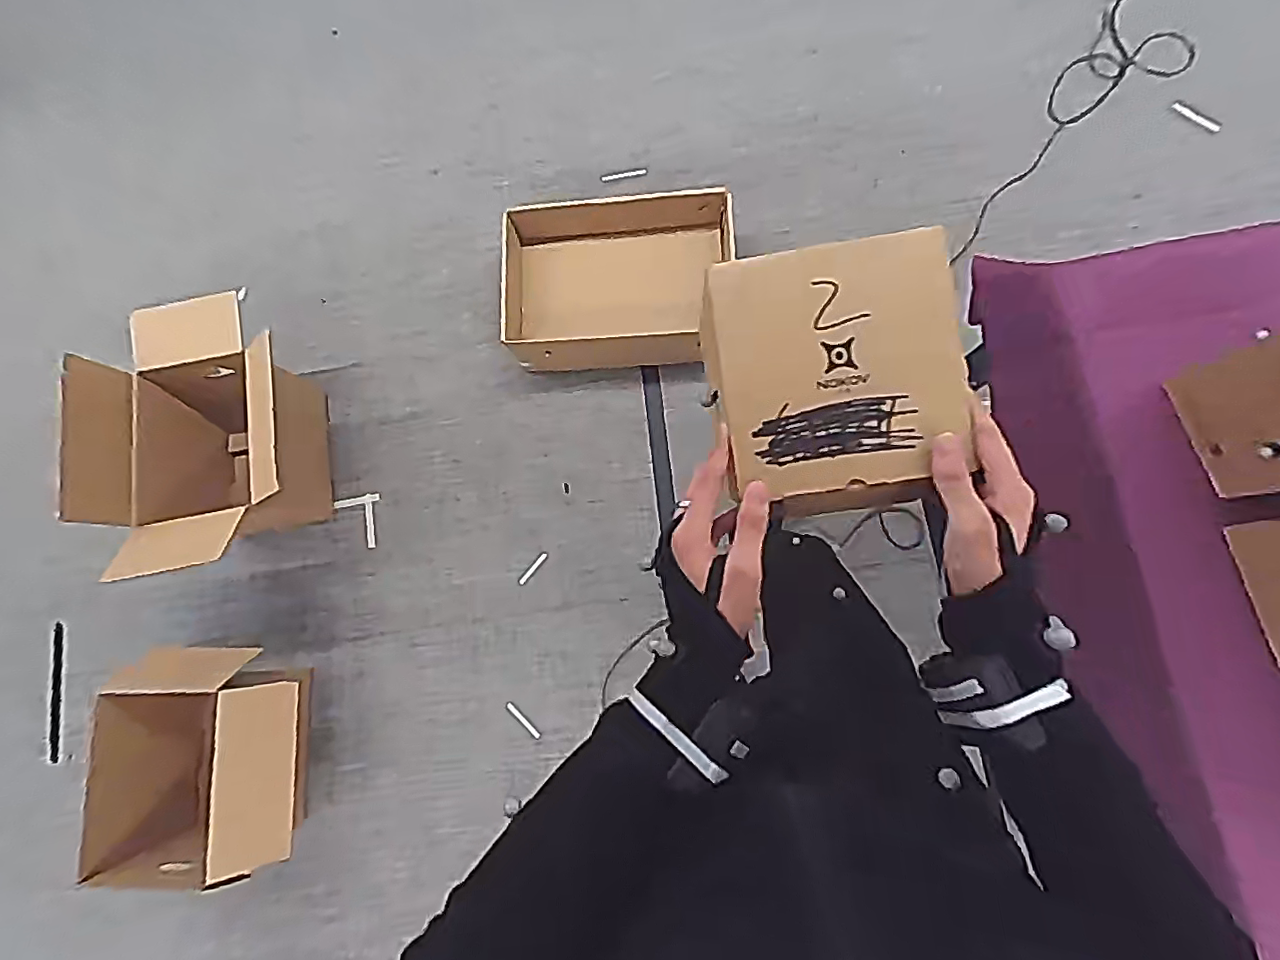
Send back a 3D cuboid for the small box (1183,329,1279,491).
[{"bbox_3d":[0.776,-0.094,0.602,0.179,0.176,0.168,-16,80,3],"label":"small box"}]
